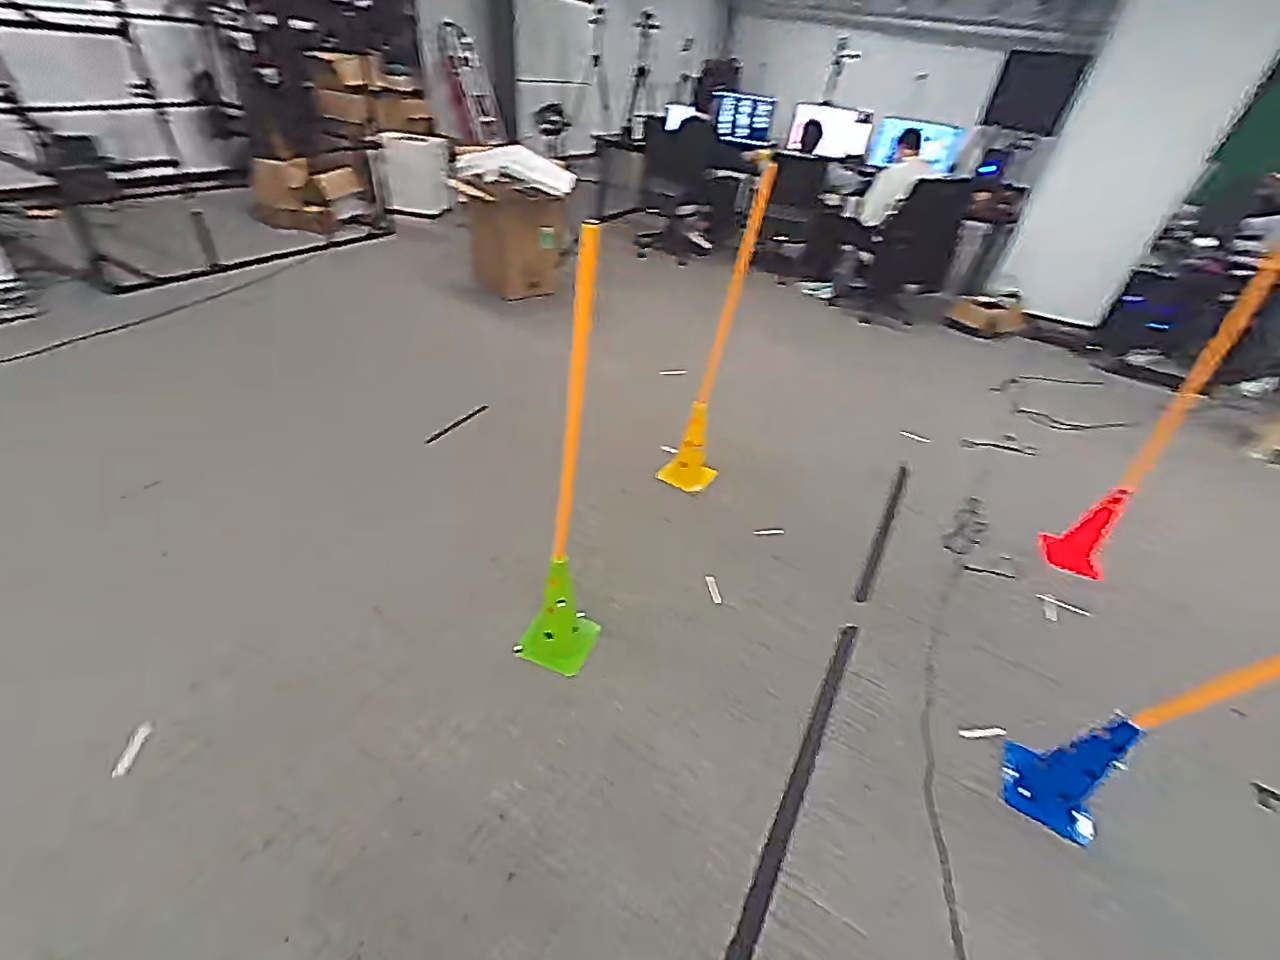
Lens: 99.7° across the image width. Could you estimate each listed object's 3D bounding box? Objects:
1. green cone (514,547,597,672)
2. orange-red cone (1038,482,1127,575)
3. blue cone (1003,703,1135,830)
[{"bbox_3d":[-0.230,0.335,1.524,0.200,0.368,0.202,17,37,12],"label":"green cone"},{"bbox_3d":[1.729,0.158,2.066,0.199,0.360,0.198,19,39,17],"label":"orange-red cone"},{"bbox_3d":[1.078,0.671,1.327,0.193,0.380,0.192,26,41,22],"label":"blue cone"}]
